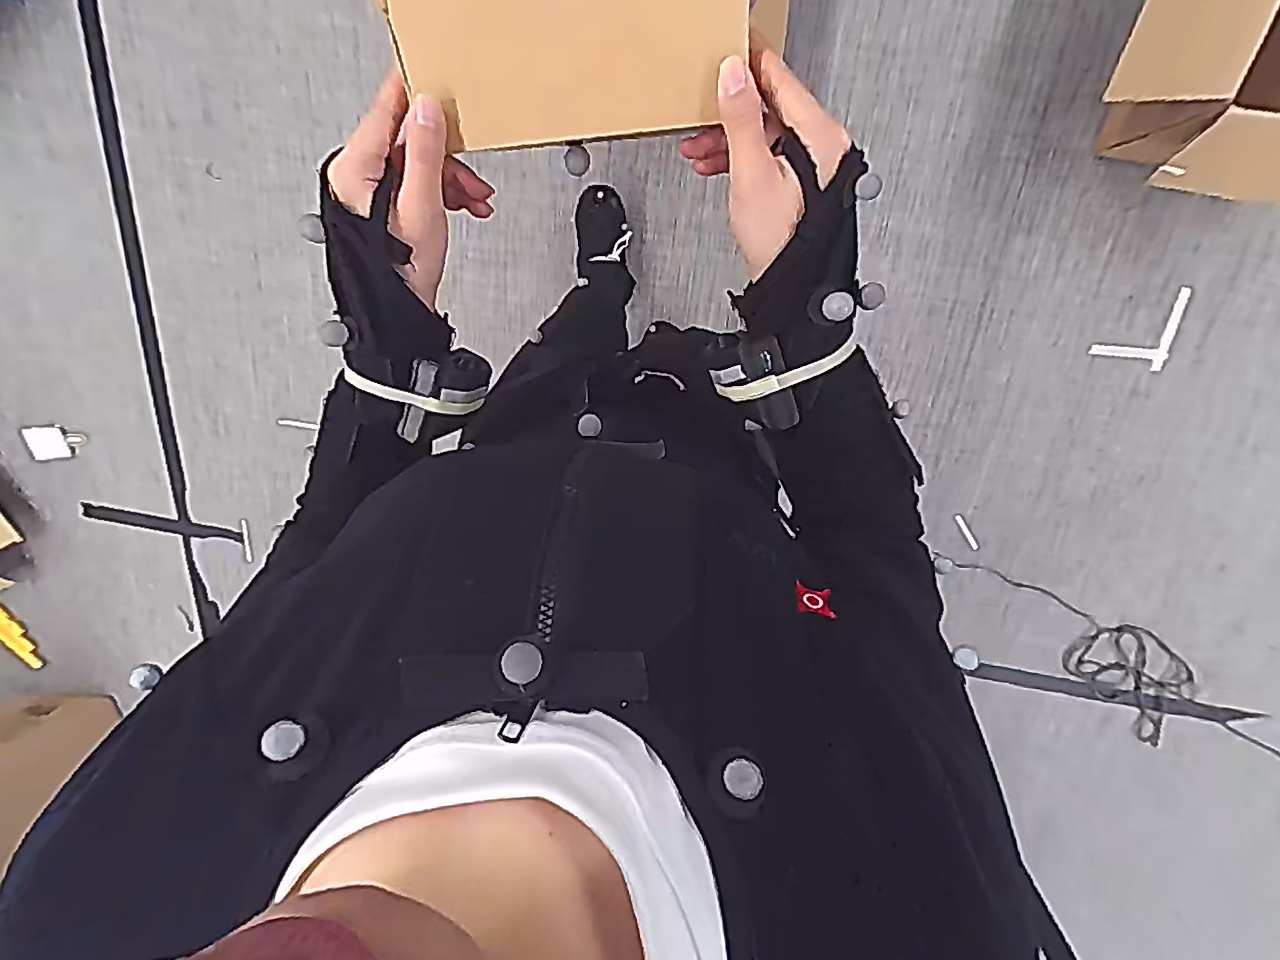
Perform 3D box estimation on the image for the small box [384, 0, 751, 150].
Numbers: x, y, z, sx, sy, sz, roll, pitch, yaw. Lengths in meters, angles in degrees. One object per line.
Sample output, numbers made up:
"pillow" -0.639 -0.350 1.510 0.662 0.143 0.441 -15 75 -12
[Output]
"small box" -0.036 -0.294 0.307 0.179 0.176 0.168 -4 122 4
